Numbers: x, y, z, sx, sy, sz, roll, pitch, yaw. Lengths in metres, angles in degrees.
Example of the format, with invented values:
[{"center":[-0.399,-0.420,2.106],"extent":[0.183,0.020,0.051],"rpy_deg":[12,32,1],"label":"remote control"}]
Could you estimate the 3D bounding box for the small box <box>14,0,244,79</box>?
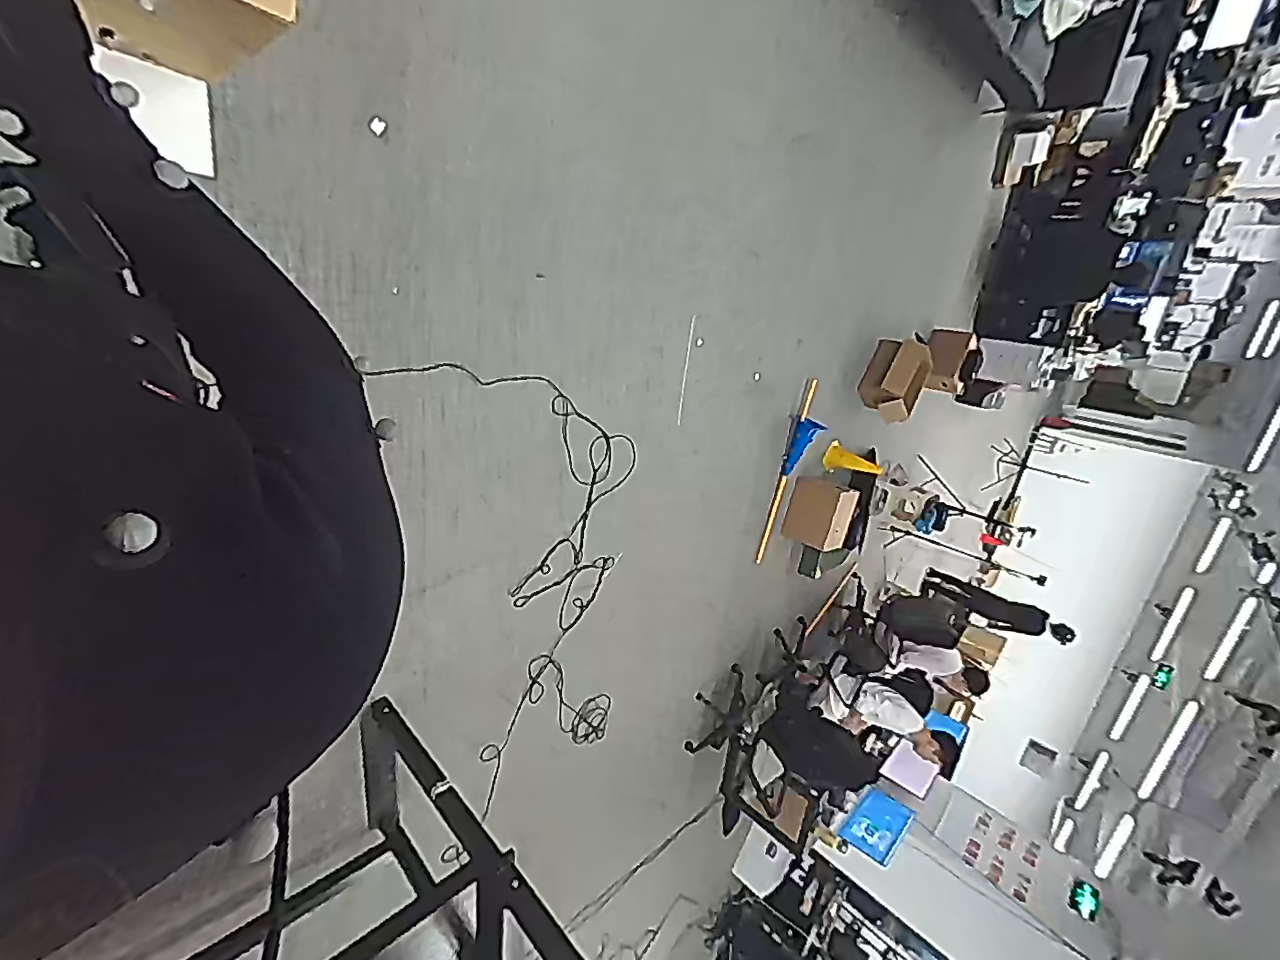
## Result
[{"center":[-0.497,-0.526,0.515],"extent":[0.168,0.176,0.179],"rpy_deg":[-7,114,-45],"label":"small box"}]
